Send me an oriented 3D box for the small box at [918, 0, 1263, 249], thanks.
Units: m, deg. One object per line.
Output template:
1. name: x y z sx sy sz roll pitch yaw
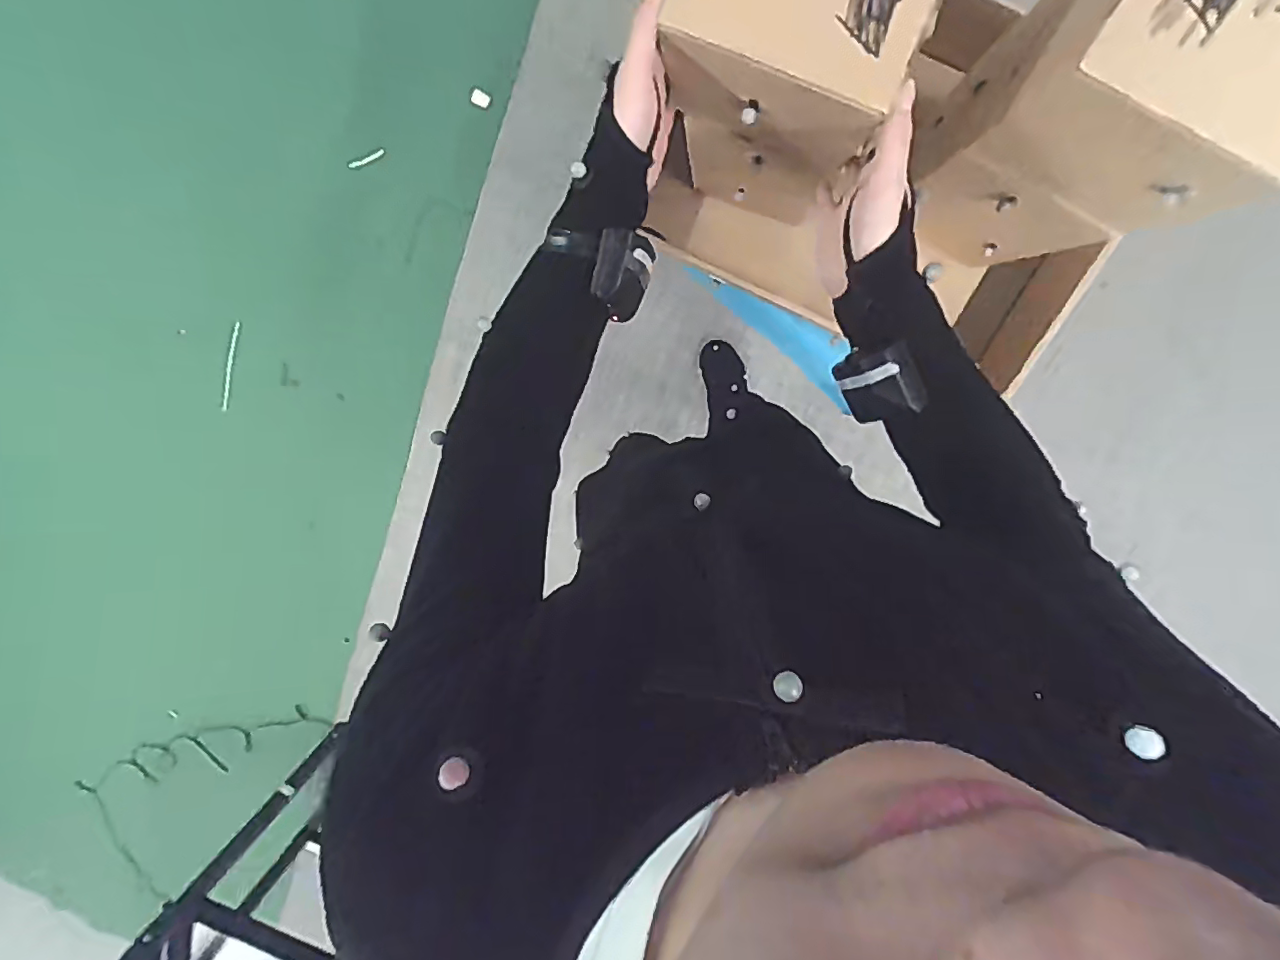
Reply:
1. small box: 0.429 -0.359 0.558 0.179 0.176 0.168 29 109 -1

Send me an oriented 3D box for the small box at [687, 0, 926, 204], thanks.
1. small box: 0.162 -0.419 0.581 0.179 0.176 0.168 20 109 1
